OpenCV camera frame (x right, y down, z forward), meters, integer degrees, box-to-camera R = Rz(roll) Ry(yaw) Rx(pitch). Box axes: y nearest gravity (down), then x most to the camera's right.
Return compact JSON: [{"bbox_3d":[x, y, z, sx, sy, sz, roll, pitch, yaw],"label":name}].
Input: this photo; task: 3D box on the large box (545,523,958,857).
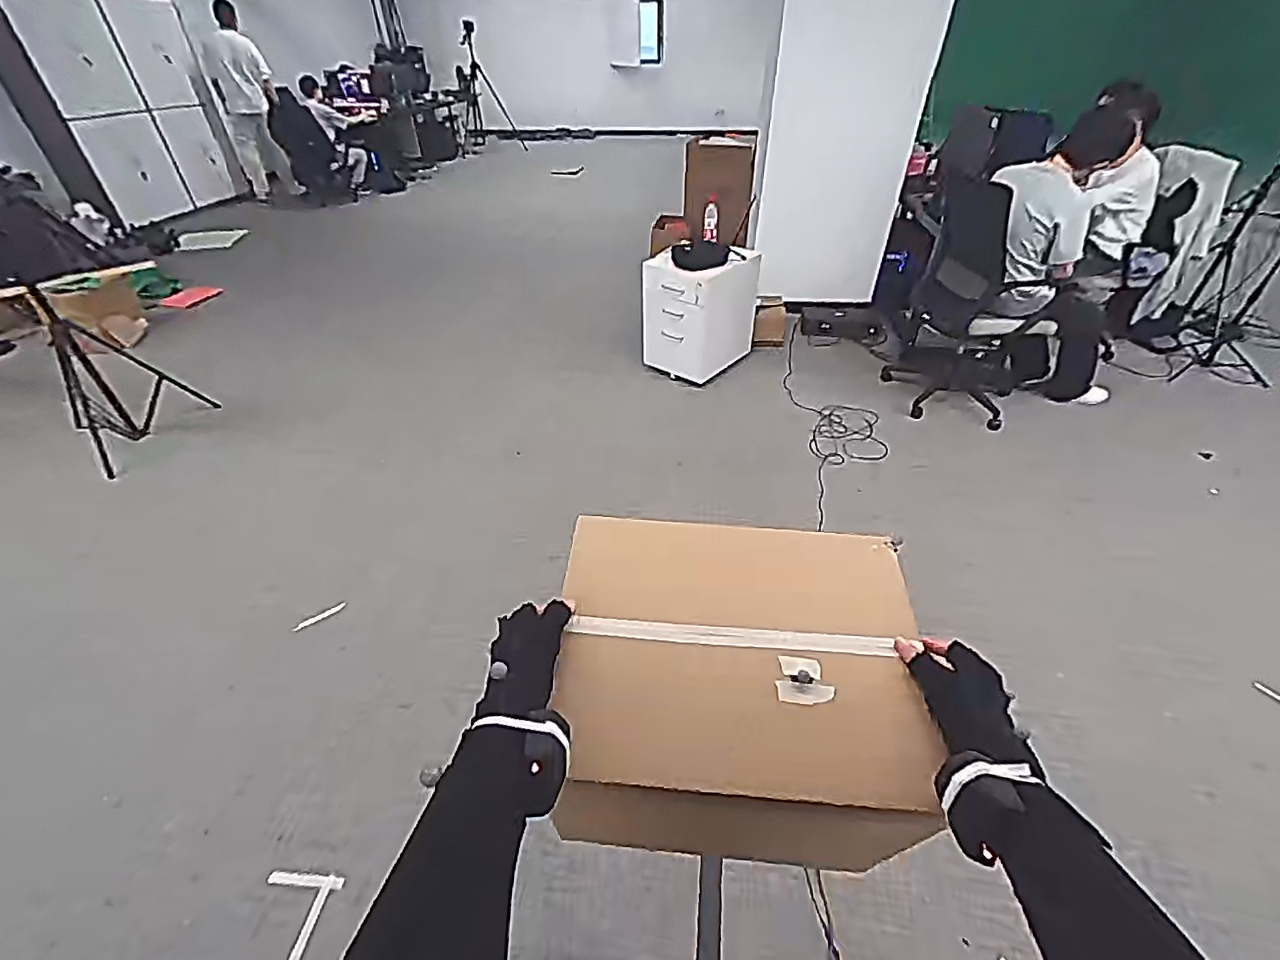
[{"bbox_3d":[0.112,0.280,0.723,0.408,0.320,0.320,4,48,3],"label":"large box"}]
